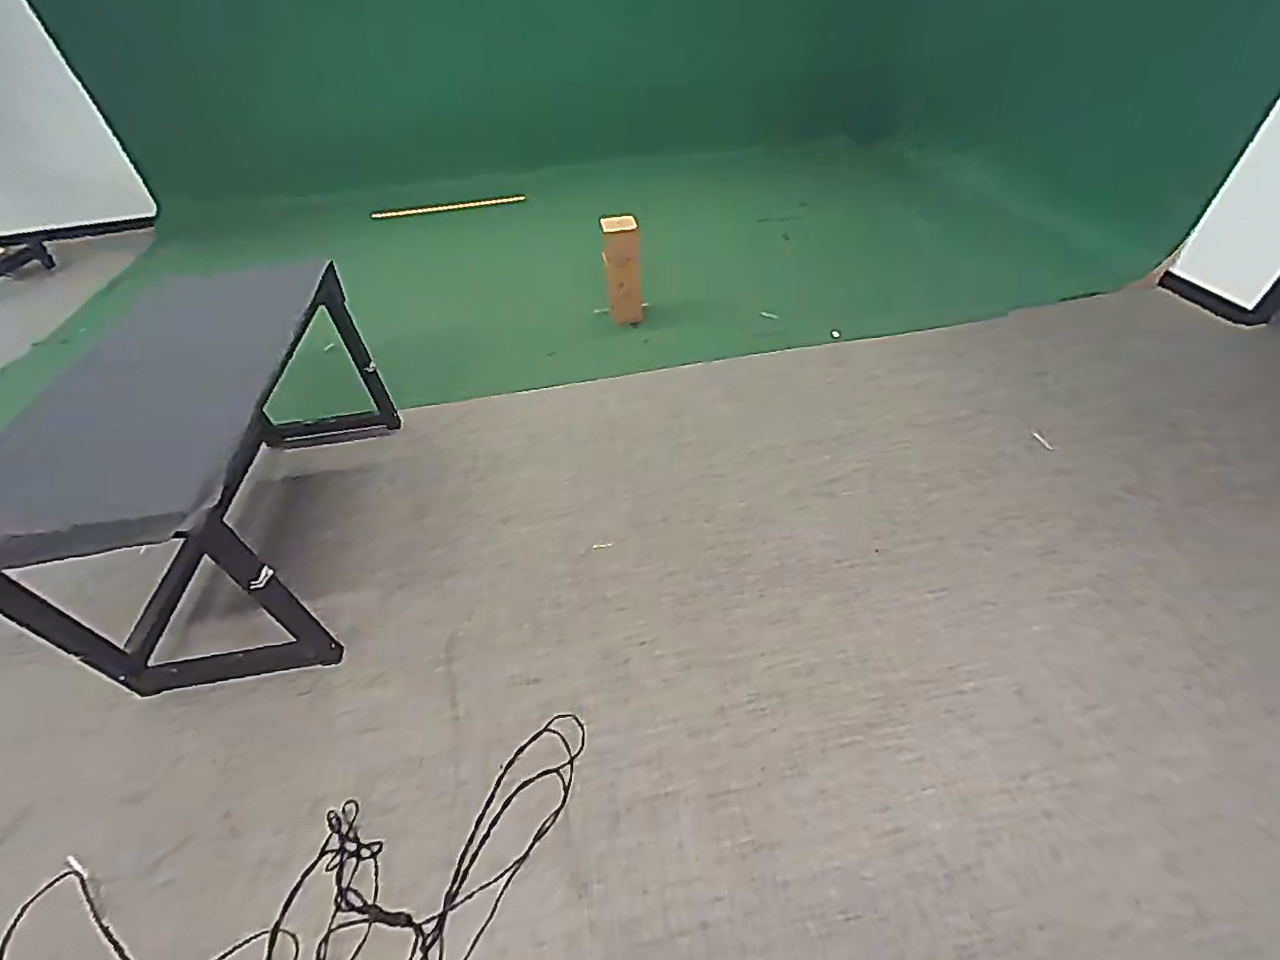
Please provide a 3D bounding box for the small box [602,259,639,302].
[{"bbox_3d":[-0.103,-1.054,2.838,0.168,0.176,0.179,-9,45,-6],"label":"small box"}]

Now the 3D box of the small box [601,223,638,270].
[{"bbox_3d":[-0.103,-1.177,2.726,0.168,0.176,0.179,-8,45,-5],"label":"small box"}]
